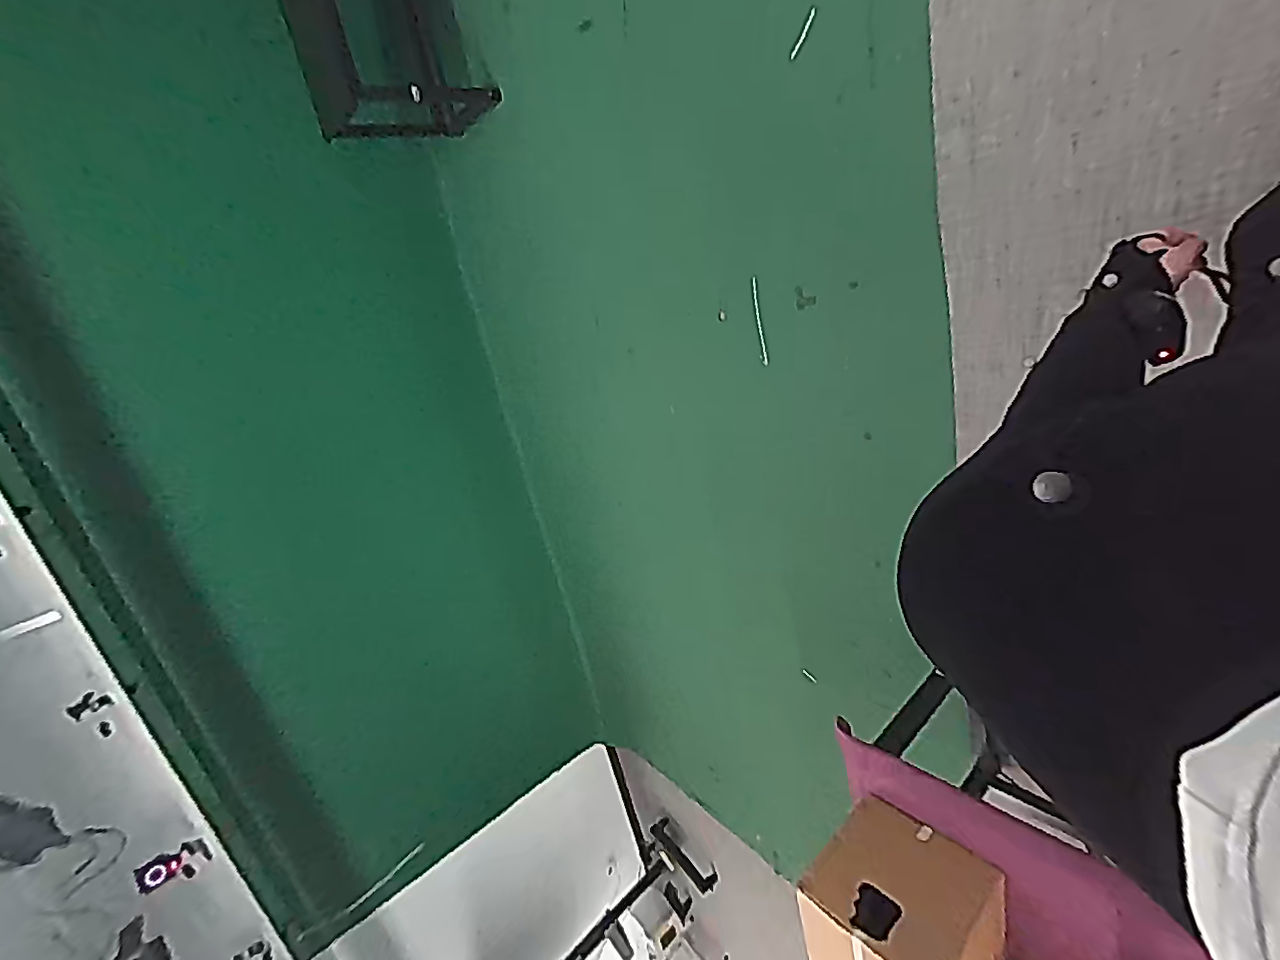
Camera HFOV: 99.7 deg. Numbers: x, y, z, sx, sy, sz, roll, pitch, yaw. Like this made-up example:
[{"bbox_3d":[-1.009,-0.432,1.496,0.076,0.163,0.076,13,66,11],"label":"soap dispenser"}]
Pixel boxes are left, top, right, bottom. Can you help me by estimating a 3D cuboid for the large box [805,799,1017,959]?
[{"bbox_3d":[0.616,1.044,1.212,0.320,0.320,0.408,8,117,51],"label":"large box"}]
